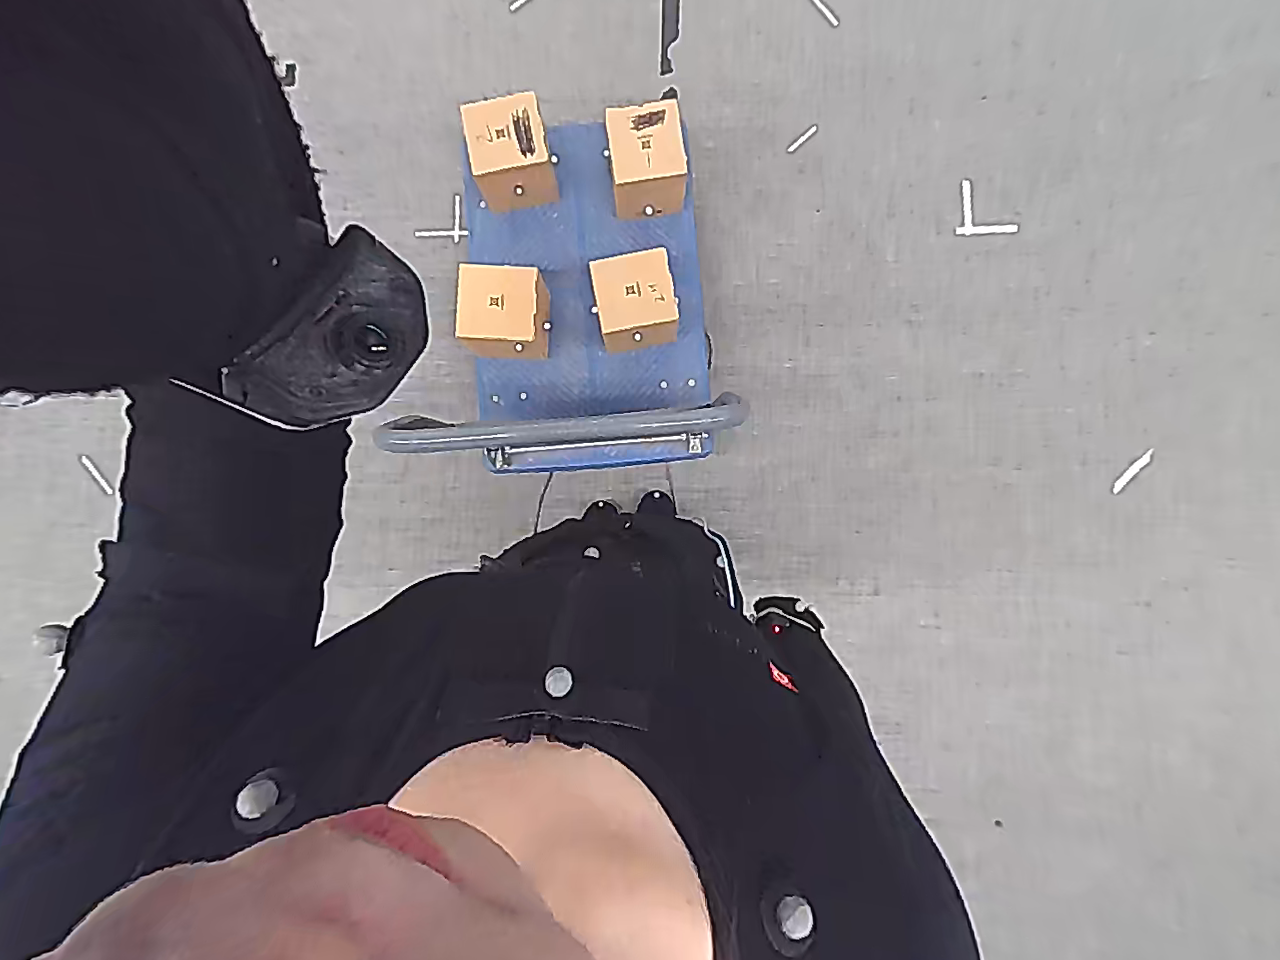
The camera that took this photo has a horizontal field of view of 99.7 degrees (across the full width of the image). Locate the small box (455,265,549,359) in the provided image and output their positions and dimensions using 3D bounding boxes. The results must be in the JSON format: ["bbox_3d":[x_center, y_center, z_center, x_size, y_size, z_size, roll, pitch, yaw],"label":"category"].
[{"bbox_3d":[-0.317,-0.387,1.268,0.179,0.176,0.168,2,87,-1],"label":"small box"}]

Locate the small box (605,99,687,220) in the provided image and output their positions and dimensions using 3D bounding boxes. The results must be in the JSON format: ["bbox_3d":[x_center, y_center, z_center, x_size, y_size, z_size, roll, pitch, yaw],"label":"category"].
[{"bbox_3d":[0.012,-0.749,1.276,0.168,0.176,0.179,-8,89,1],"label":"small box"}]

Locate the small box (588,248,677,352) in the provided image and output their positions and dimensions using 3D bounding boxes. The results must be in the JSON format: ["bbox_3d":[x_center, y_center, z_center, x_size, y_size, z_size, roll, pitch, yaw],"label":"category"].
[{"bbox_3d":[-0.013,-0.412,1.263,0.179,0.176,0.168,-11,88,1],"label":"small box"}]
